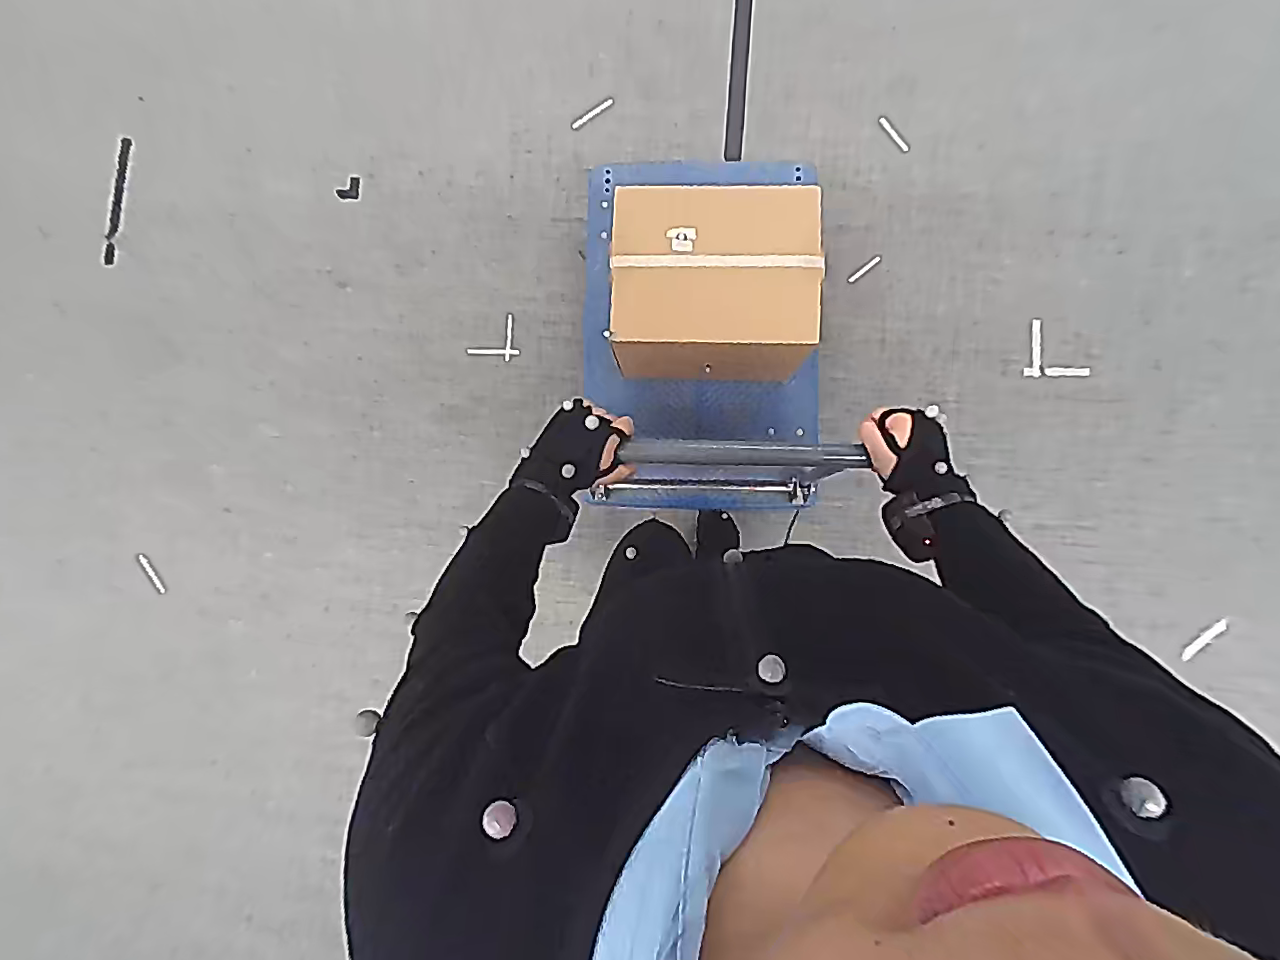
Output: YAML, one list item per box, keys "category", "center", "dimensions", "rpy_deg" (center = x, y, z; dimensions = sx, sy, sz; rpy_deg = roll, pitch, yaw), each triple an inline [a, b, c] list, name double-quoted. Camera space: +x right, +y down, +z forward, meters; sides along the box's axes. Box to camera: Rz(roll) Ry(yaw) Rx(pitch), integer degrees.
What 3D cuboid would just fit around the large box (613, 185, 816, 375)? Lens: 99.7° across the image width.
- category: "large box"
  center: [0.159, -0.421, 1.217]
  dimensions: [0.408, 0.320, 0.320]
  rpy_deg: [1, 86, 4]
